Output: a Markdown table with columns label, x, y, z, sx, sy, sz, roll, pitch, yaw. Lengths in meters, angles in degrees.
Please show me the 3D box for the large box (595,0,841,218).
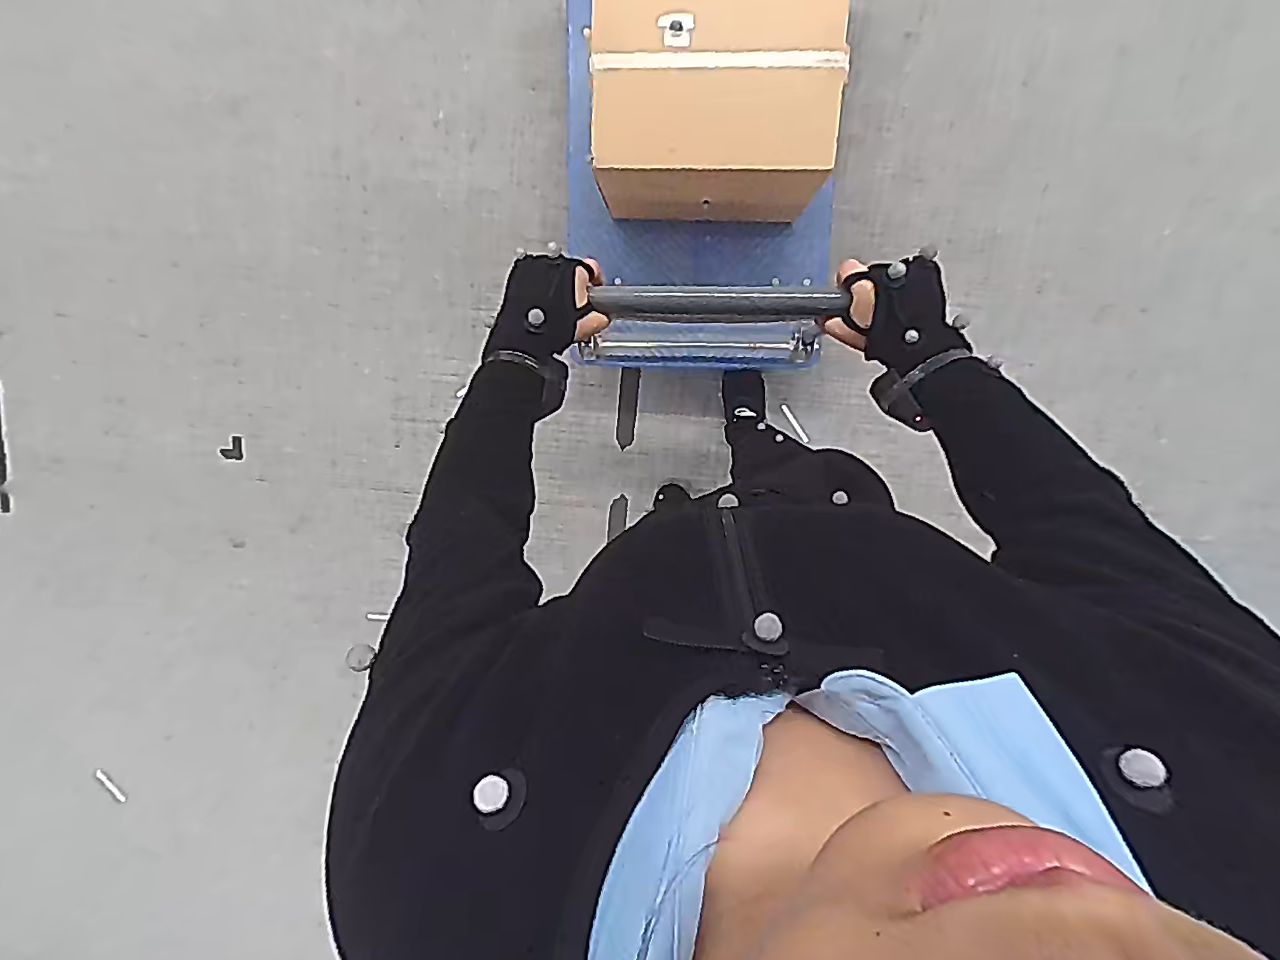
| label | x | y | z | sx | sy | sz | roll | pitch | yaw |
| --- | --- | --- | --- | --- | --- | --- | --- | --- | --- |
| large box | 0.136 | -0.706 | 1.035 | 0.408 | 0.320 | 0.320 | 2 | 100 | 4 |
